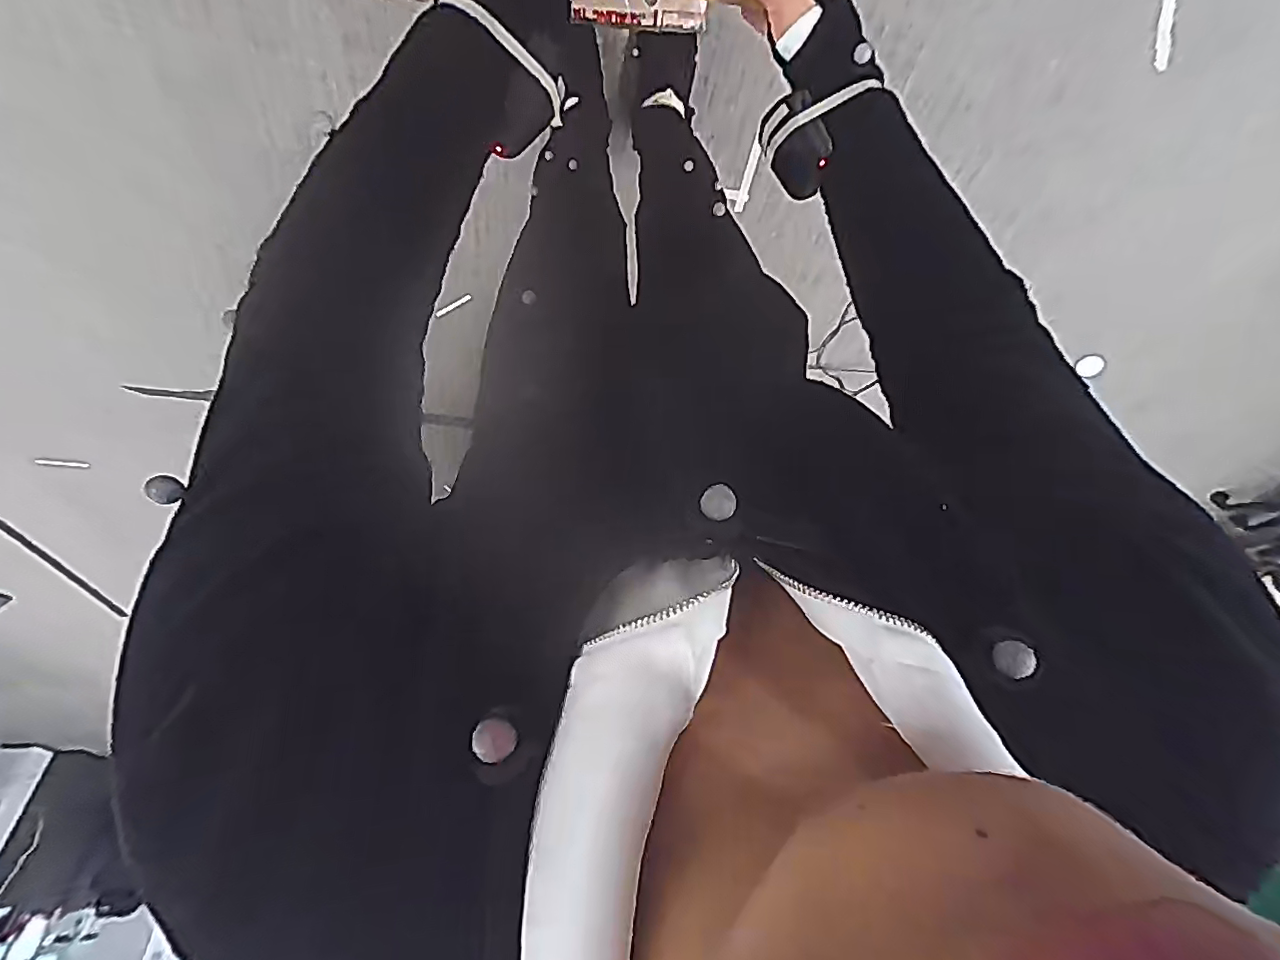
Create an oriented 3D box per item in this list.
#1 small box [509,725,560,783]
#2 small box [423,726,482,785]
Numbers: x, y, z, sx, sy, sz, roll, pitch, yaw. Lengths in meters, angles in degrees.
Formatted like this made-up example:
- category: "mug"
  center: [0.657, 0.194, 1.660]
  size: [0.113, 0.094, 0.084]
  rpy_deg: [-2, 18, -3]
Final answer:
- category: "small box"
  center: [-0.394, 1.035, 2.043]
  size: [0.179, 0.176, 0.168]
  rpy_deg: [1, 143, -7]
- category: "small box"
  center: [-0.682, 1.009, 1.986]
  size: [0.179, 0.176, 0.168]
  rpy_deg: [1, 143, -7]
